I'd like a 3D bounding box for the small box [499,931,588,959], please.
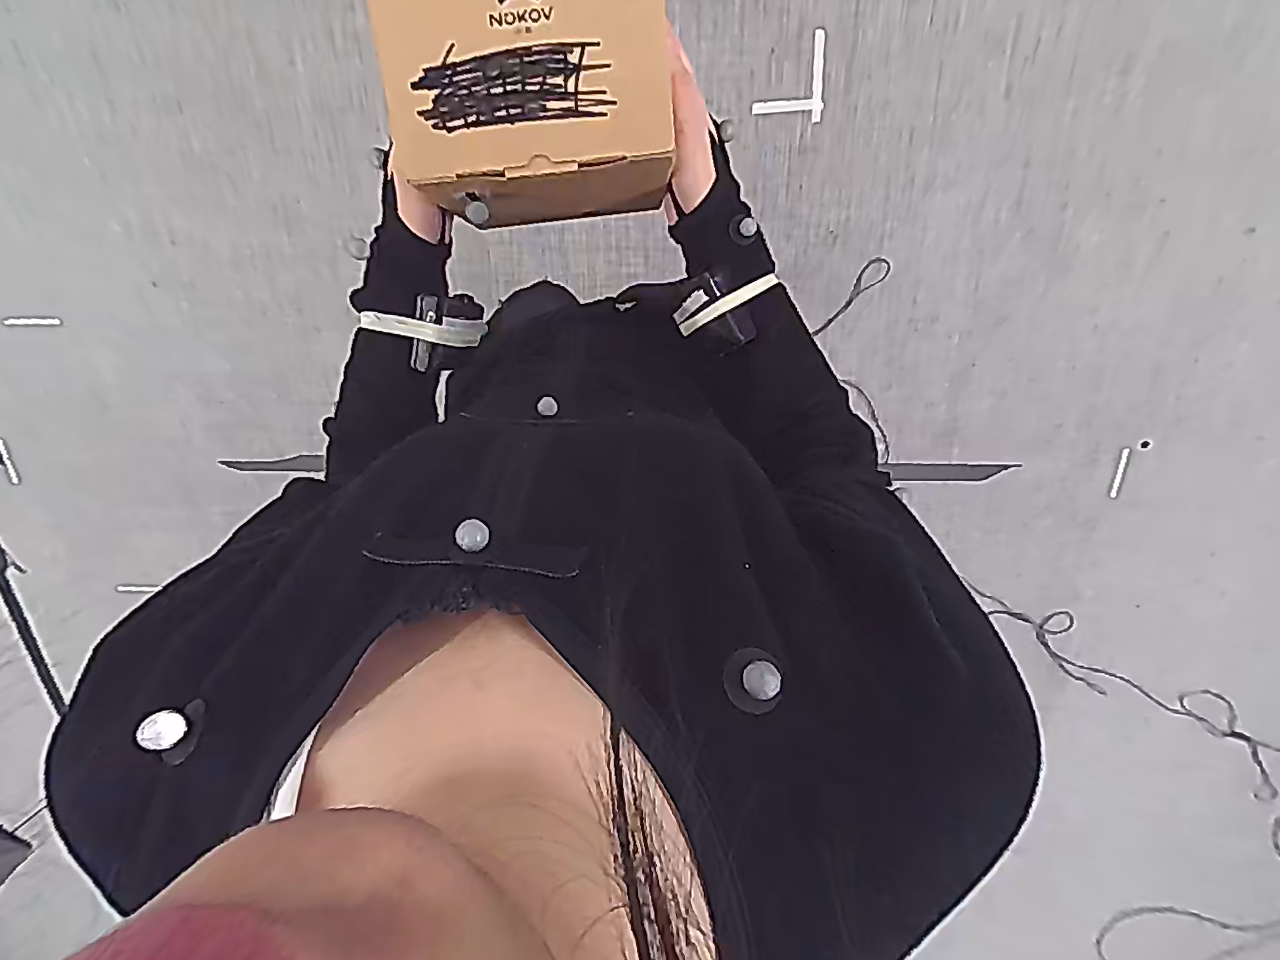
[{"bbox_3d":[-0.187,0.988,1.002,0.168,0.176,0.179,2,110,0],"label":"small box"}]
